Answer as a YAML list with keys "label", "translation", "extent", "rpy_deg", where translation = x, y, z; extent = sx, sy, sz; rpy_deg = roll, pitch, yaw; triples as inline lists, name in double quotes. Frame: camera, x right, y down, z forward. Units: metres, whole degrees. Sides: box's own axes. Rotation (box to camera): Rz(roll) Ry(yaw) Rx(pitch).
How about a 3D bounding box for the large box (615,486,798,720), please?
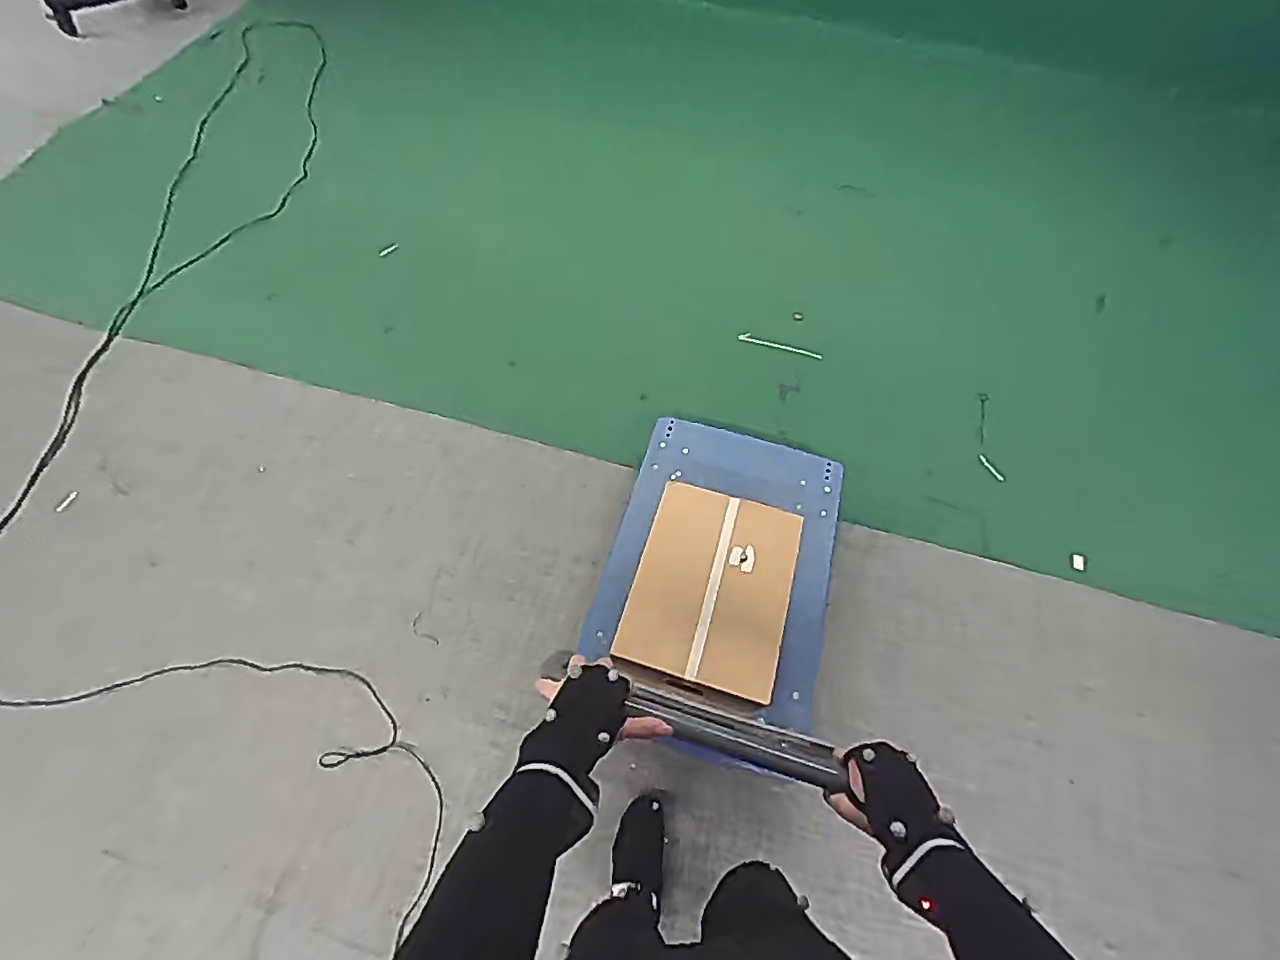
- label: "large box"
  translation: [0.146, 0.289, 1.242]
  extent: [0.320, 0.320, 0.408]
  rpy_deg: [16, 61, 6]
